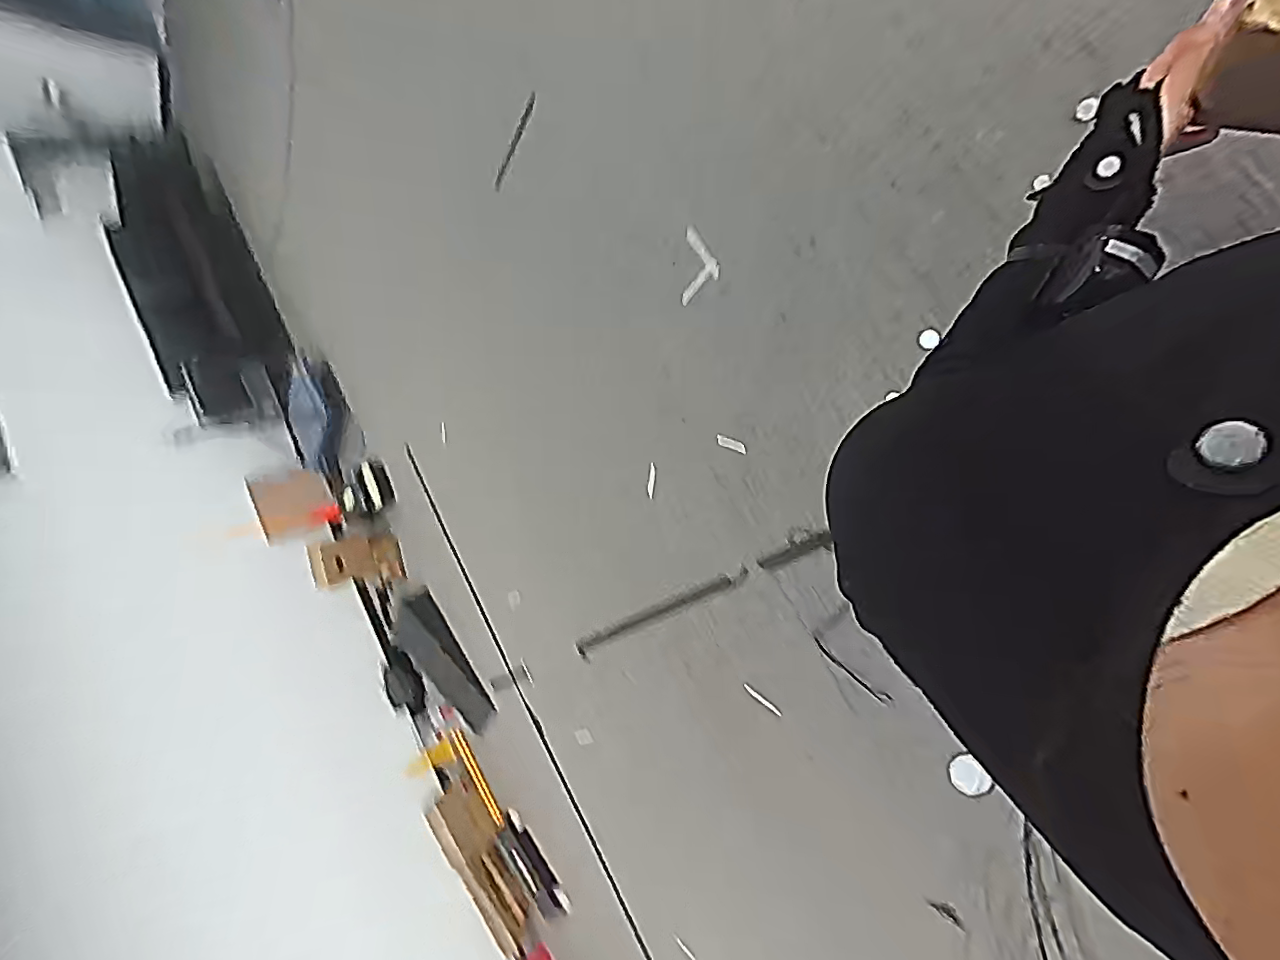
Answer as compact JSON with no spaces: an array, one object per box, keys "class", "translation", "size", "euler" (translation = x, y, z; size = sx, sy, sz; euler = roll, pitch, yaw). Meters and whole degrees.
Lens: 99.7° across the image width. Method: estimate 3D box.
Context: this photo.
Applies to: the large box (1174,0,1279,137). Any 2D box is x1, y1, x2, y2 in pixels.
[{"class":"large box","translation":[0.485,-0.273,0.137],"size":[0.408,0.320,0.320],"euler":[27,127,29]}]
